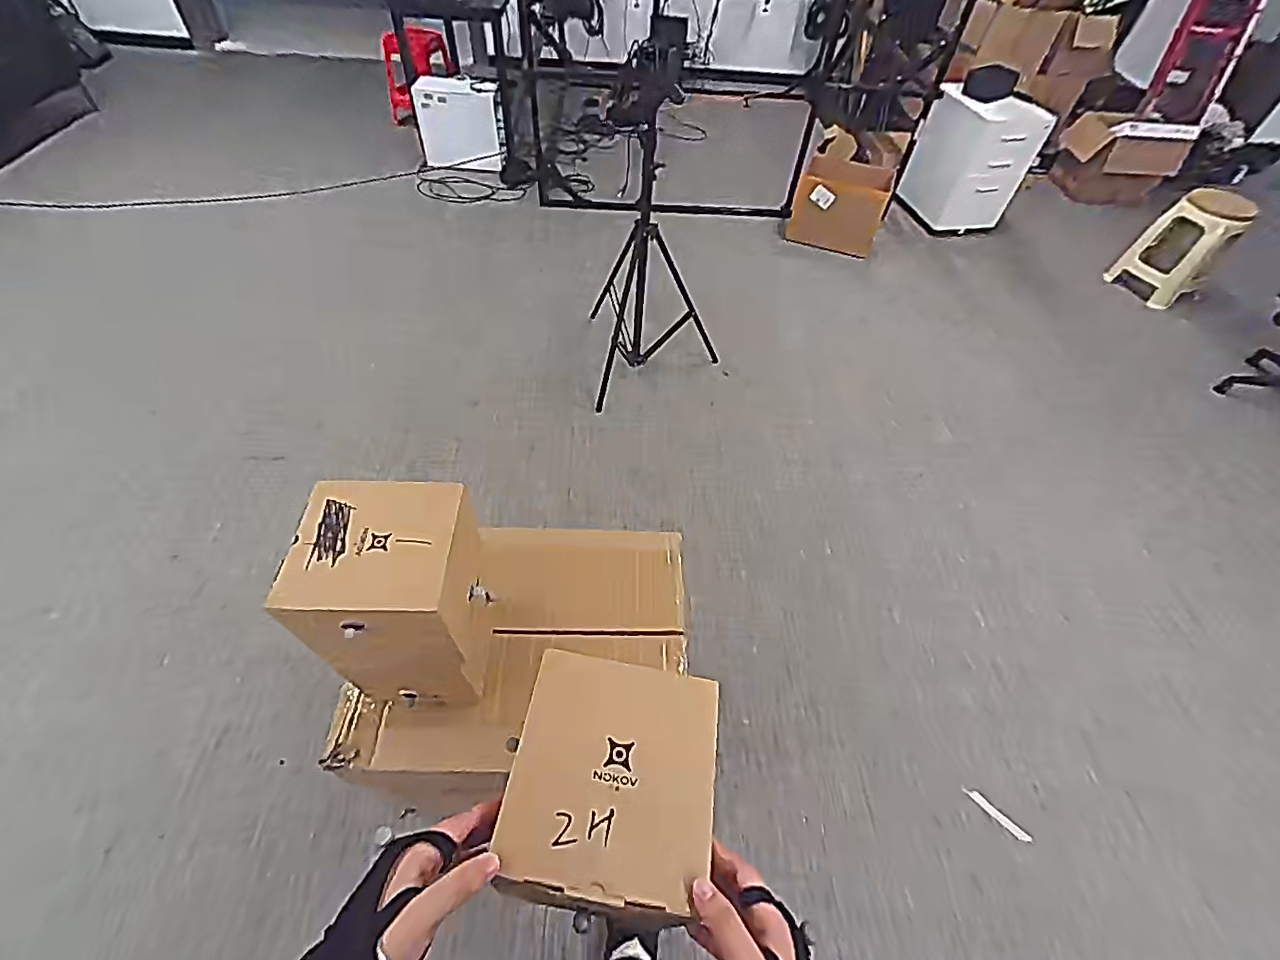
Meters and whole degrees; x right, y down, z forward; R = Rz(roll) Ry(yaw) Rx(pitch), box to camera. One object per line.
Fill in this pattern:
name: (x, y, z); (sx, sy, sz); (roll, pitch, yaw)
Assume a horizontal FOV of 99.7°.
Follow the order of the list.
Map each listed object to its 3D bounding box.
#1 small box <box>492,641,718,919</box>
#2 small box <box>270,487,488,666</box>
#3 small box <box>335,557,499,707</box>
small box: (-0.029, 0.283, 0.509); (0.168, 0.176, 0.179); (11, 47, 1)
small box: (-0.300, 0.124, 0.669); (0.179, 0.176, 0.168); (1, 53, -4)
small box: (-0.312, 0.223, 0.801); (0.168, 0.176, 0.179); (1, 54, -3)
